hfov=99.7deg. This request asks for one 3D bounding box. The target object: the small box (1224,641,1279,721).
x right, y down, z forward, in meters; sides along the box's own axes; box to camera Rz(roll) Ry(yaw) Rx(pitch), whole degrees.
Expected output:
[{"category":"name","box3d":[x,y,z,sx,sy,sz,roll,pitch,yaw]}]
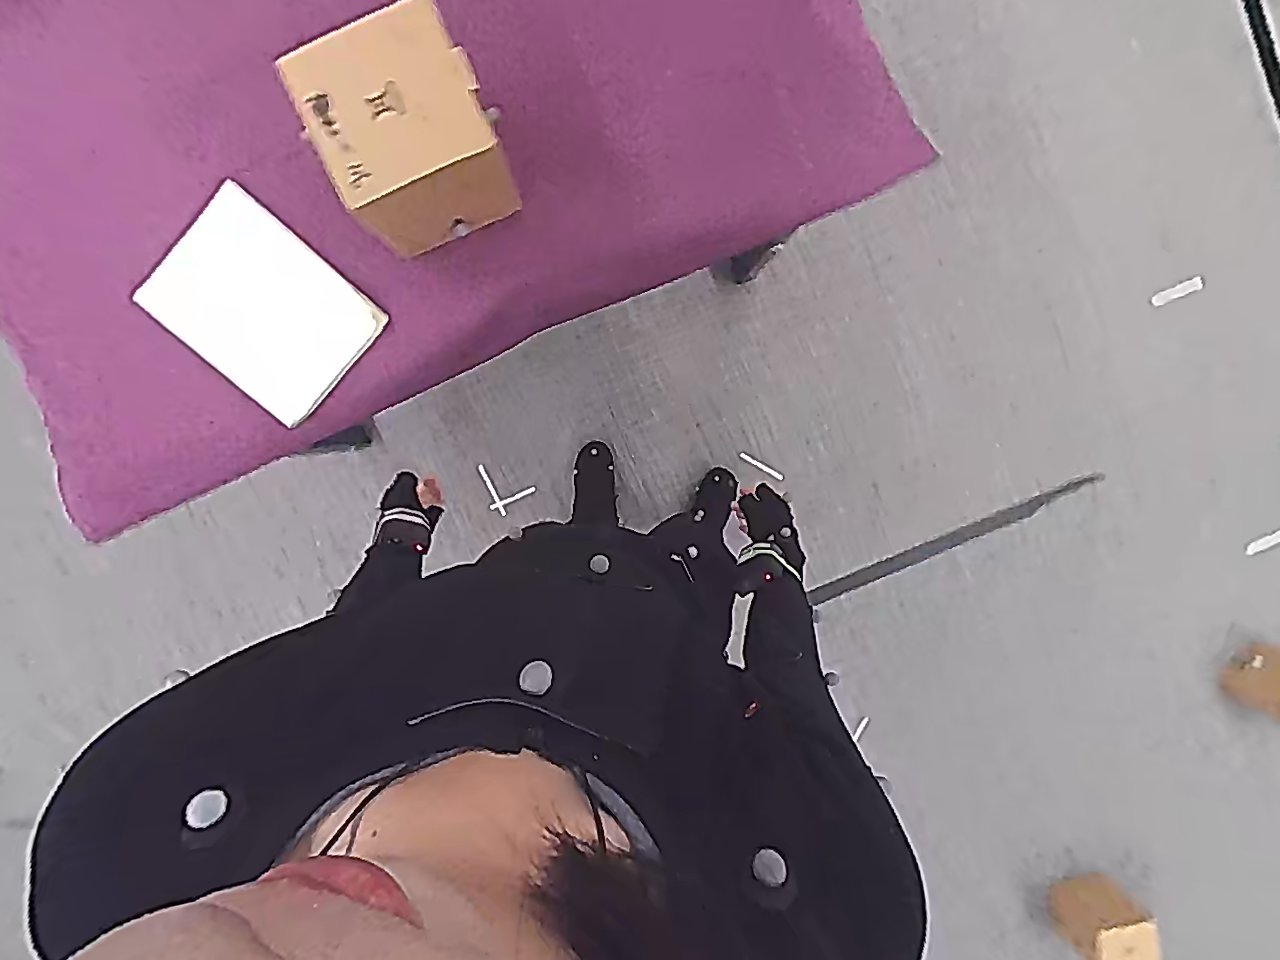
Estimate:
[{"category":"small box","box3d":[1.877,0.597,1.558,0.179,0.176,0.168,43,92,-4]}]

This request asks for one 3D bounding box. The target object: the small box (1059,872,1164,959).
[{"category":"small box","box3d":[1.389,1.319,1.606,0.179,0.176,0.168,-12,97,-2]}]

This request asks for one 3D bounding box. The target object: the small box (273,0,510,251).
[{"category":"small box","box3d":[-0.267,-0.402,0.636,0.179,0.176,0.168,-24,95,-1]}]
